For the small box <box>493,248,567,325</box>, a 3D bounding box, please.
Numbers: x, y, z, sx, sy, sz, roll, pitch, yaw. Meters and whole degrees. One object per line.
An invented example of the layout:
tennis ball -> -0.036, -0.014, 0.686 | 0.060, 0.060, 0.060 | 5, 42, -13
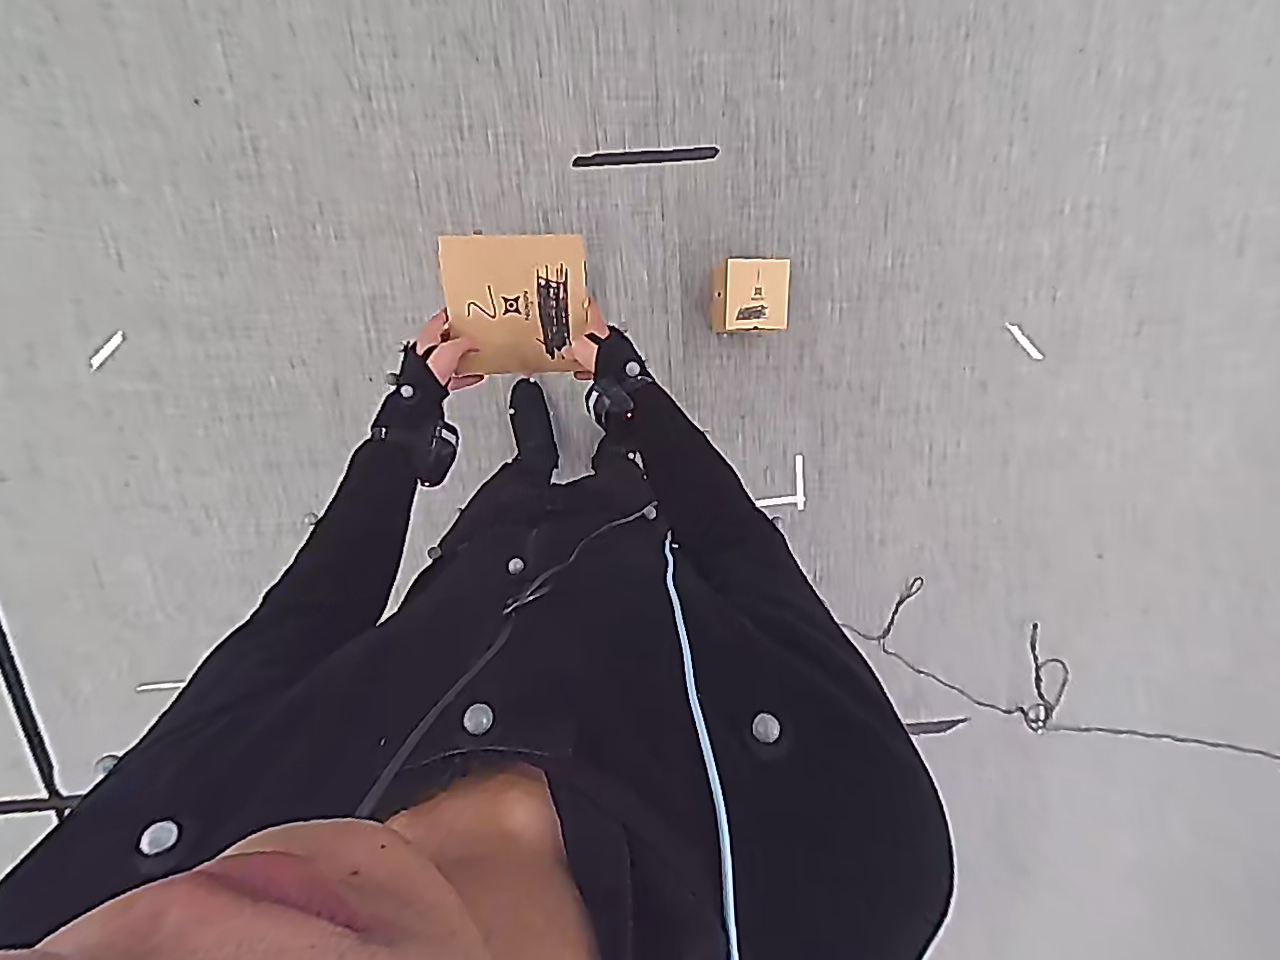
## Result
small box -> -0.283, -0.501, 1.422 | 0.168, 0.176, 0.179 | -2, 103, -3

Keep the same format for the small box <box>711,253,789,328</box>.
small box -> 0.290, -0.505, 1.460 | 0.168, 0.176, 0.179 | -1, 102, -5
